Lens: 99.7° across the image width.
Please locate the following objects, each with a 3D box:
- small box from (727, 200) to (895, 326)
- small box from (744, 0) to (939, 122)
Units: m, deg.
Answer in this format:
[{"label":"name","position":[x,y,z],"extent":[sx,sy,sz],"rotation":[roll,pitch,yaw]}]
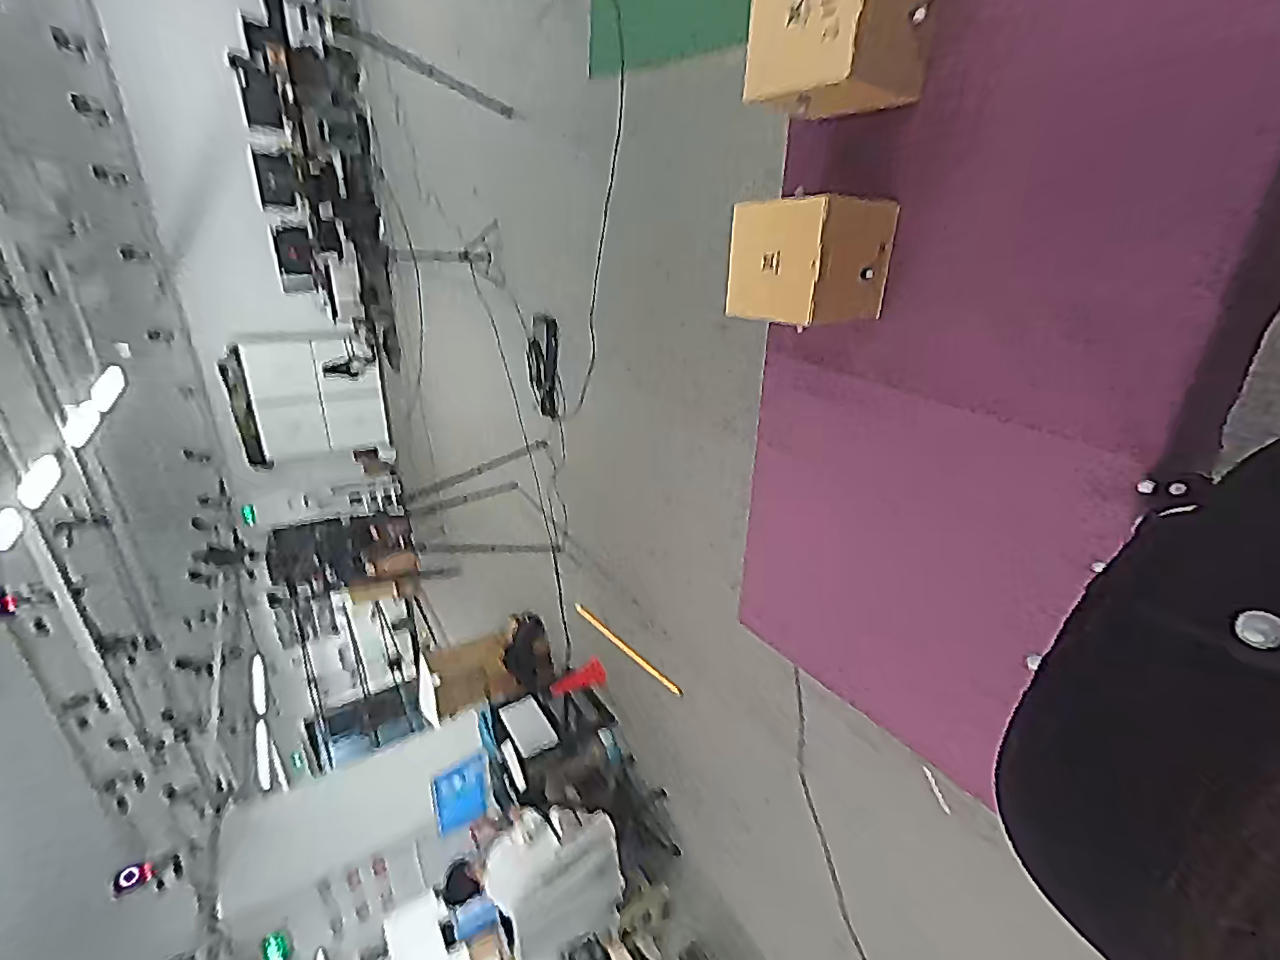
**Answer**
[{"label":"small box","position":[0.263,-0.338,0.852],"extent":[0.179,0.176,0.168],"rotation":[28,124,49]},{"label":"small box","position":[0.270,-0.602,0.734],"extent":[0.179,0.176,0.168],"rotation":[30,126,46]}]
